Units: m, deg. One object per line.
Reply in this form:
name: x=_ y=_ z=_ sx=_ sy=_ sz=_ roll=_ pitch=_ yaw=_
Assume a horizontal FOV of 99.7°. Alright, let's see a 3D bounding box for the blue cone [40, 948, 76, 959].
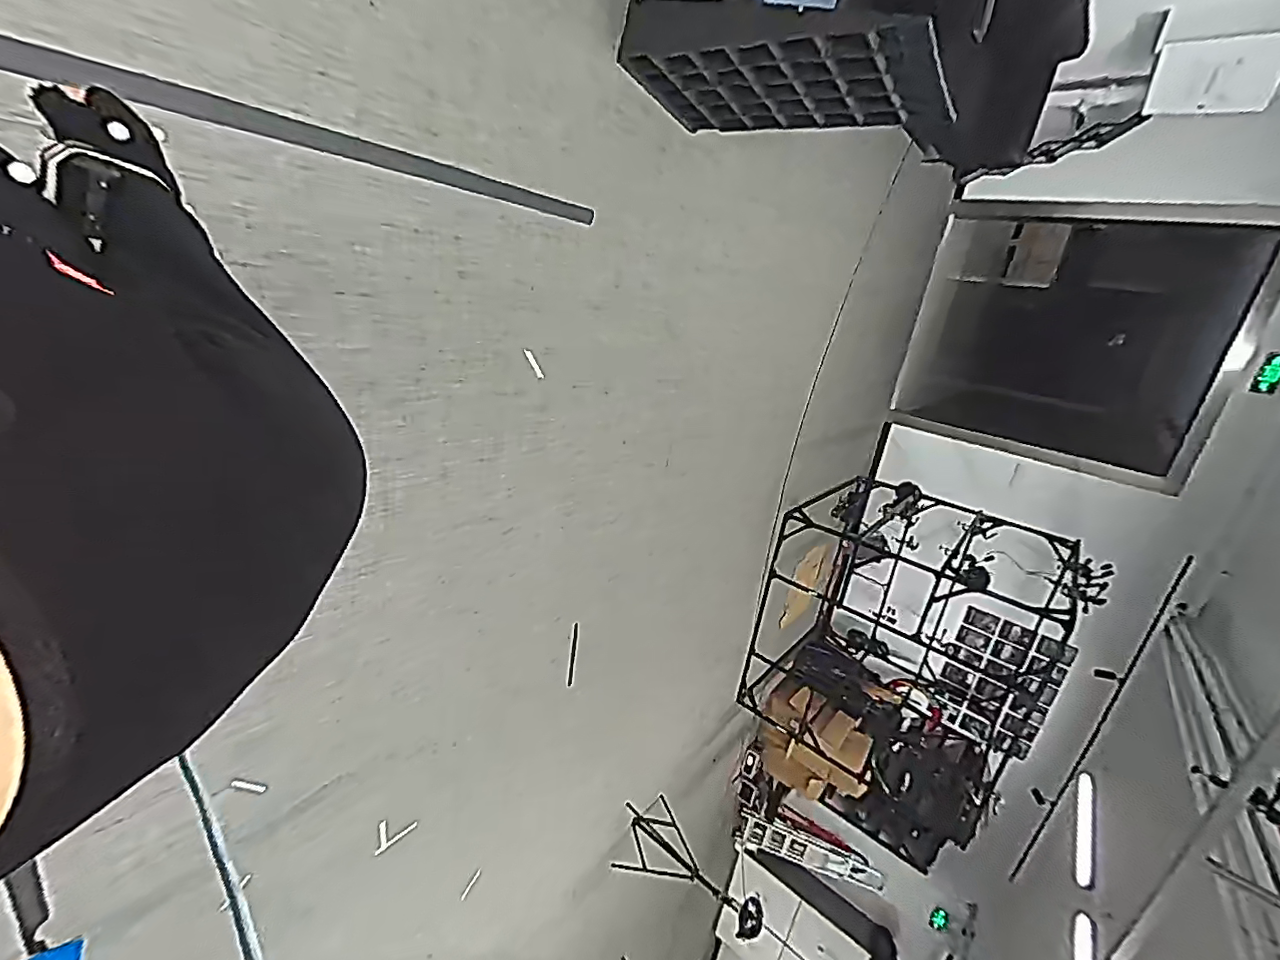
blue cone: x=-1.389 y=1.319 z=1.227 sx=0.192 sy=0.380 sz=0.193 roll=10 pitch=100 yaw=-57
